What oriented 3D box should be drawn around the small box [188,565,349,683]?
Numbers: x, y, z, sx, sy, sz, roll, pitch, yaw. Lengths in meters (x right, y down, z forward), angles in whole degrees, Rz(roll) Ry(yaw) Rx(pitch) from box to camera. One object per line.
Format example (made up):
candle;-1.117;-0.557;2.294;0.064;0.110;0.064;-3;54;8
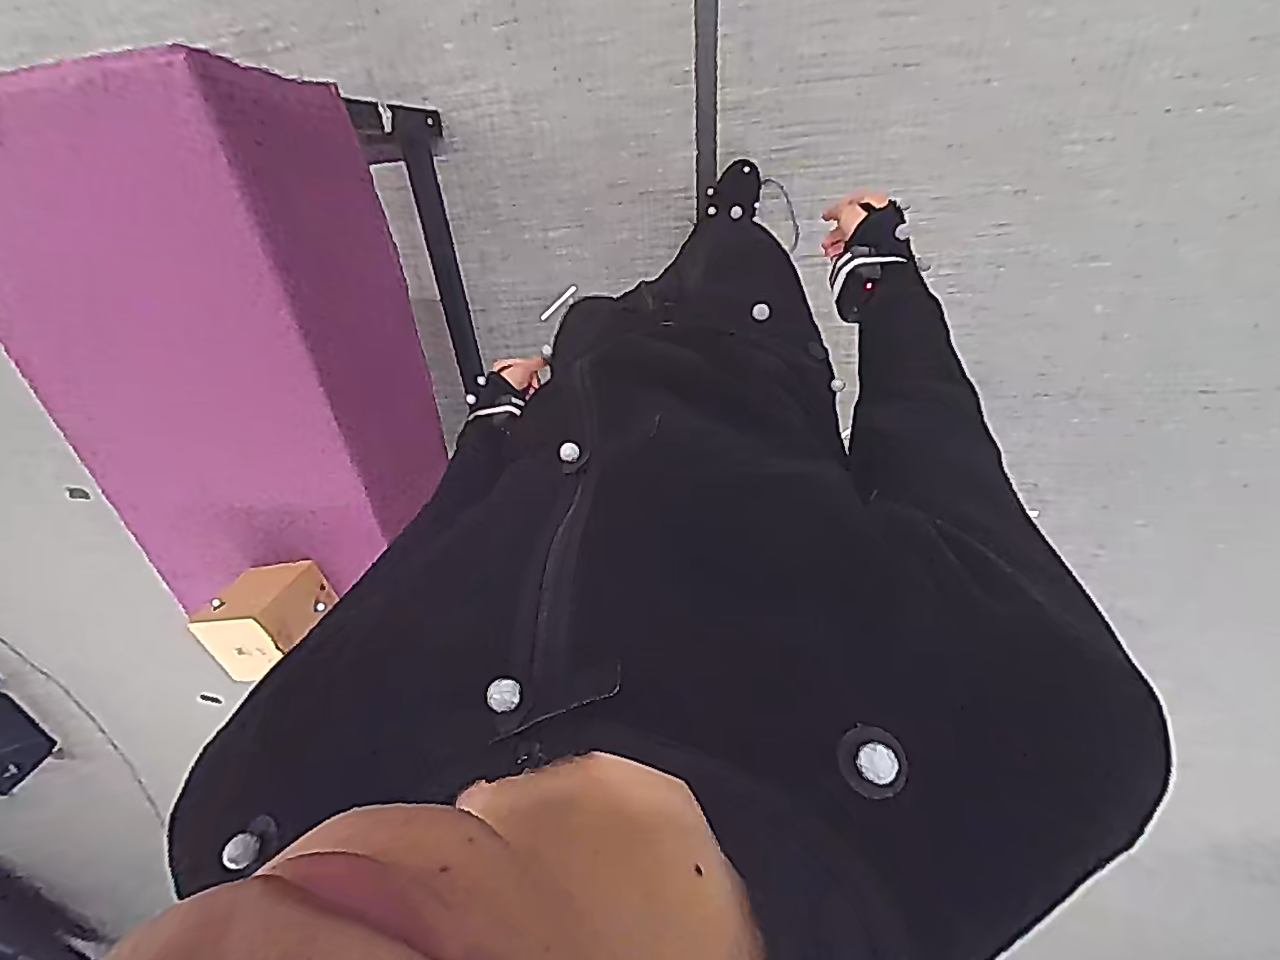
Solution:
small box;-0.755;0.295;1.119;0.179;0.176;0.168;-9;119;14
